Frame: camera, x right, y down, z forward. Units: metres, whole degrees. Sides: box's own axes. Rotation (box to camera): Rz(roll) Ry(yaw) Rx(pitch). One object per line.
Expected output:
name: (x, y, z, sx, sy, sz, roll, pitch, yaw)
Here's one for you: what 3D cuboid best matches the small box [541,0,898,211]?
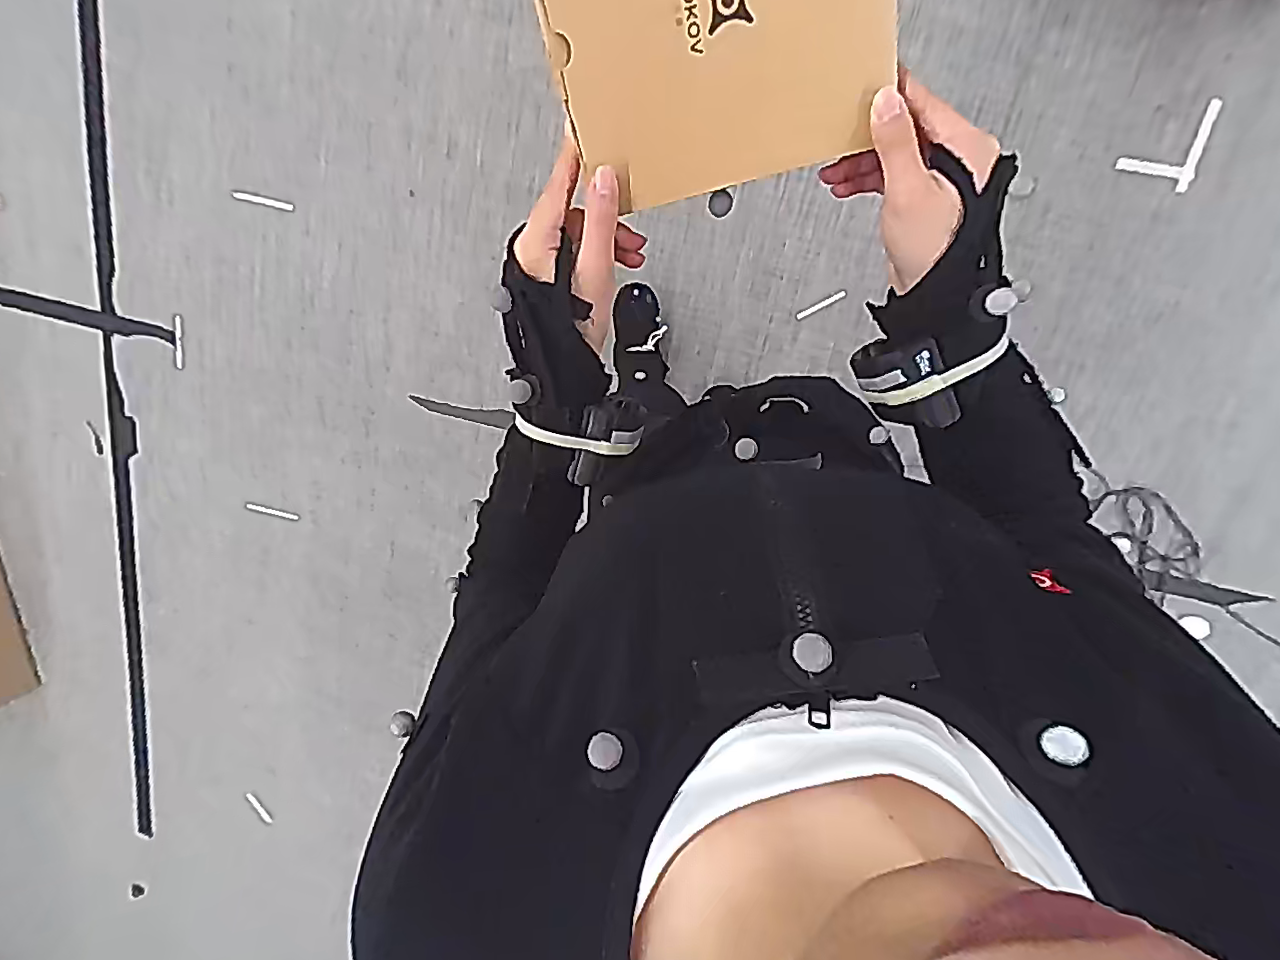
small box: (0.038, -0.282, 0.336, 0.179, 0.176, 0.168, -11, 120, 7)
